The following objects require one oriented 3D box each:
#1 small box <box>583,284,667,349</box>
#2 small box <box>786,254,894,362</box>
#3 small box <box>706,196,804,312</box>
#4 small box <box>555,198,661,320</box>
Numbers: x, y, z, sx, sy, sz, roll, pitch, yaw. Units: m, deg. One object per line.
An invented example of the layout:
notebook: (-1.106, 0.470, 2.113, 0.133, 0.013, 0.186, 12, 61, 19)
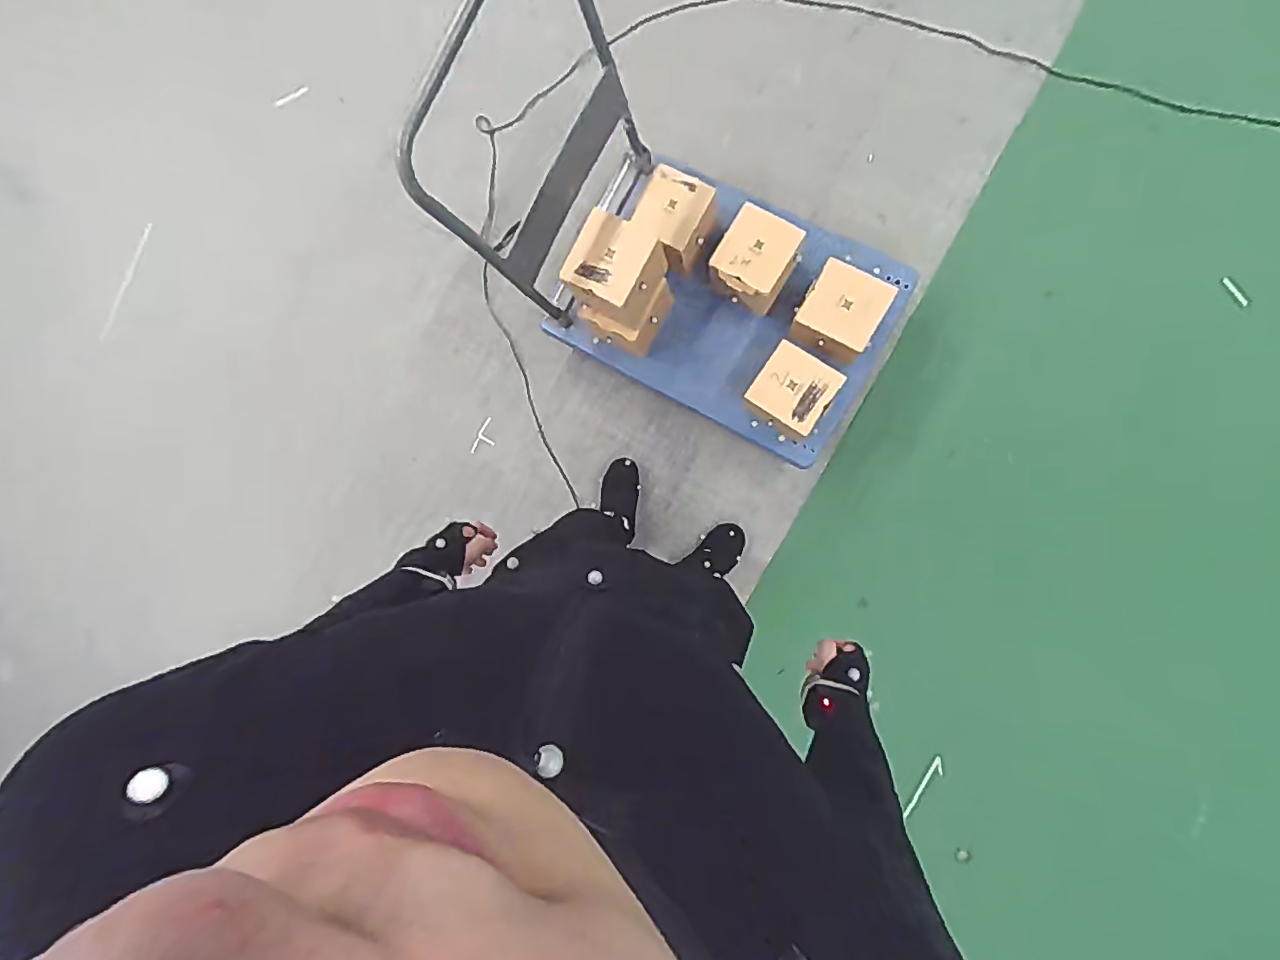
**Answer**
small box: (-0.047, -0.471, 1.411, 0.168, 0.176, 0.179, -31, 84, 9)
small box: (0.475, -0.408, 1.317, 0.179, 0.176, 0.168, 31, 95, 9)
small box: (0.281, -0.555, 1.351, 0.168, 0.176, 0.179, 33, 94, 9)
small box: (-0.064, -0.495, 1.240, 0.168, 0.176, 0.179, 30, 93, 8)
